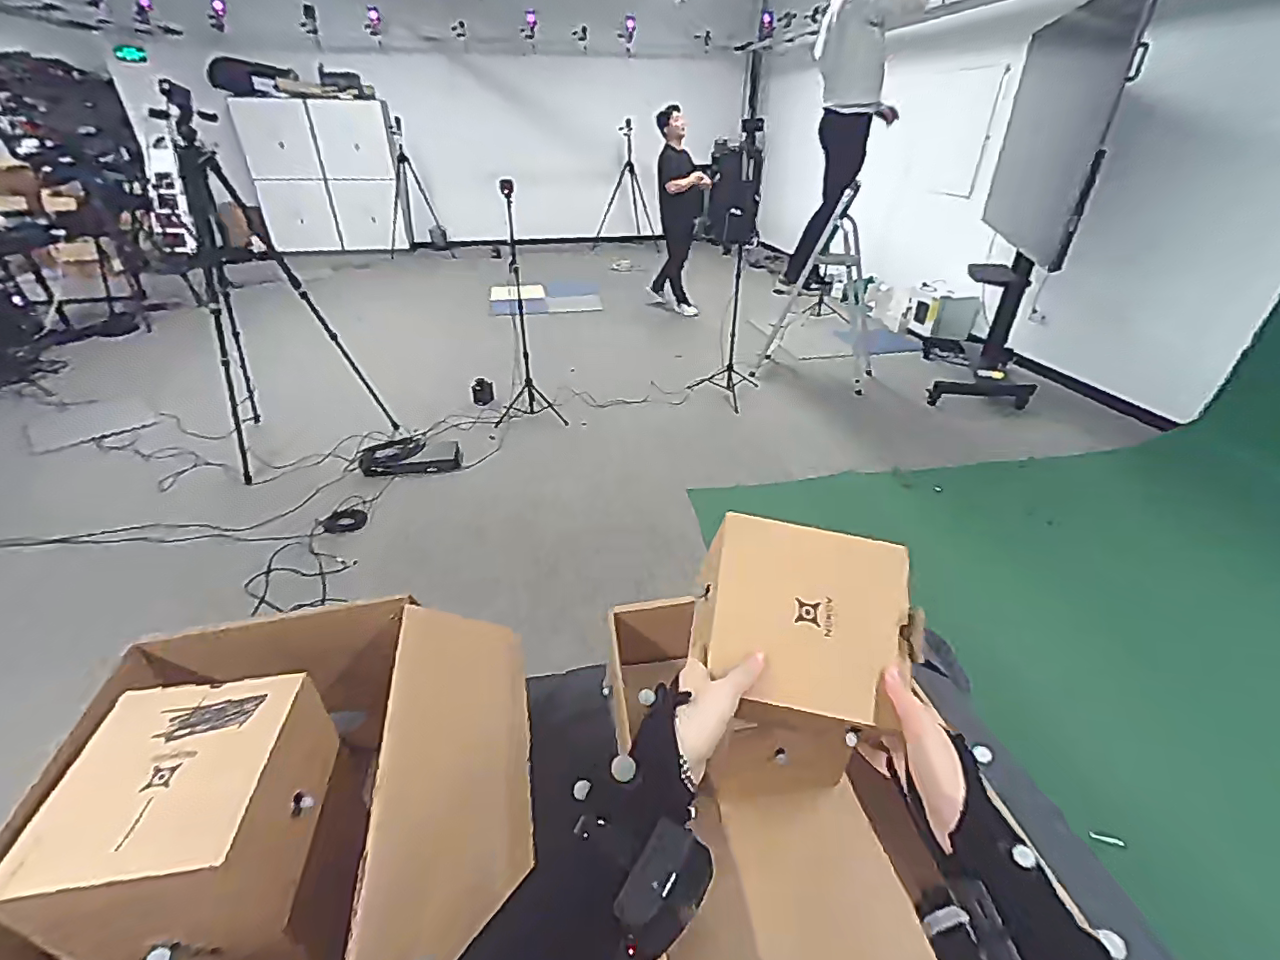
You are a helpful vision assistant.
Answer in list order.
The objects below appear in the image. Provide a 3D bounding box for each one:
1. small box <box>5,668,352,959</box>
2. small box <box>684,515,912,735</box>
[{"bbox_3d":[-0.398,0.310,0.516,0.168,0.176,0.179,-4,35,-7],"label":"small box"},{"bbox_3d":[0.148,0.155,0.548,0.179,0.176,0.168,12,64,1],"label":"small box"}]
